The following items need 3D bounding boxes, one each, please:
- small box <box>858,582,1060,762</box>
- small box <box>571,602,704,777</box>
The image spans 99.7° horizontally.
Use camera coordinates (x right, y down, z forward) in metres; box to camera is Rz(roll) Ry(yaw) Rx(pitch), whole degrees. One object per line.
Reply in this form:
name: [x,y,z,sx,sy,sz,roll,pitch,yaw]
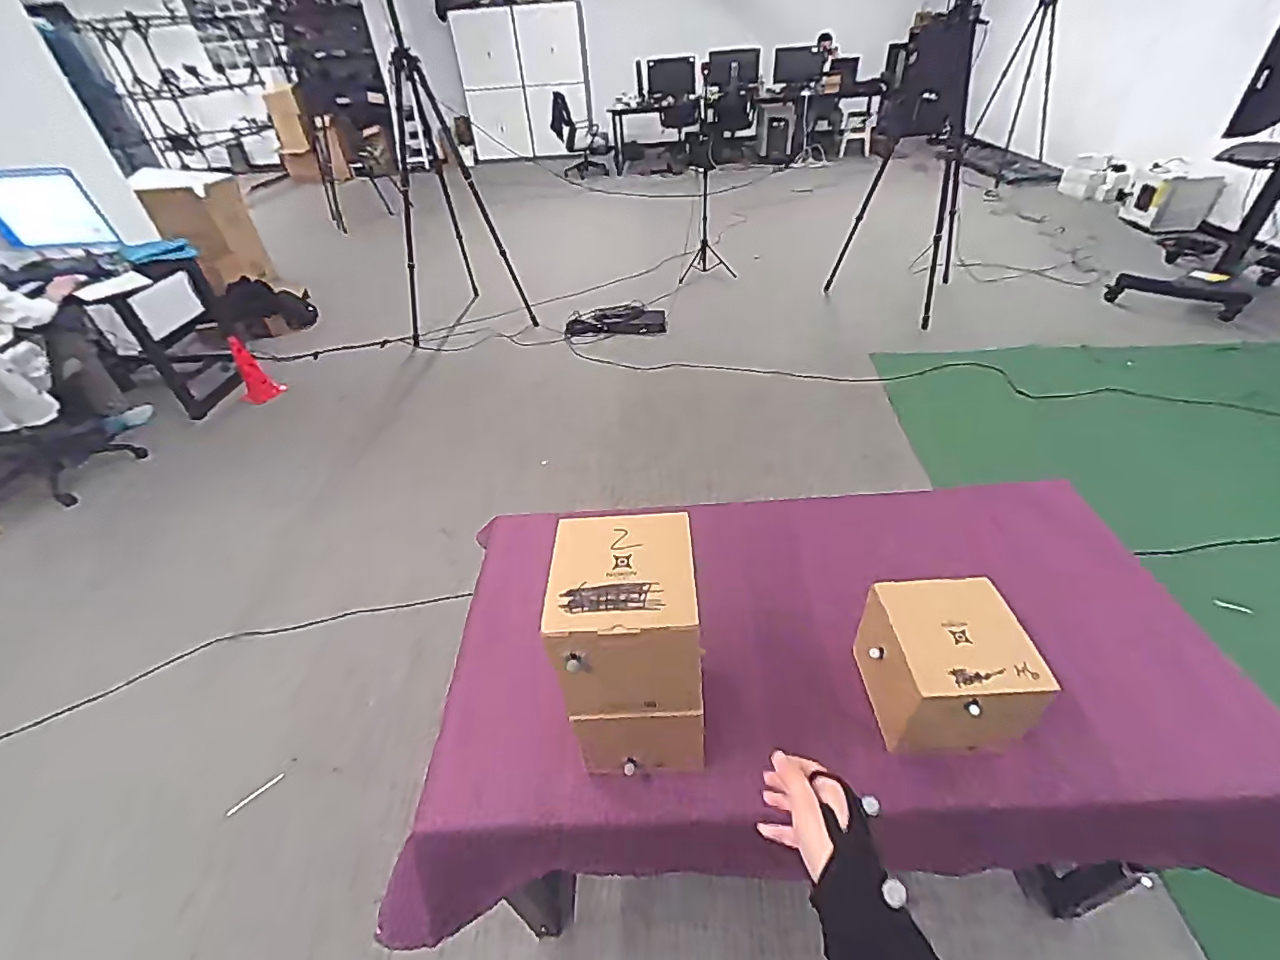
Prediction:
small box: [0.421,0.266,0.756,0.168,0.176,0.179,-5,39,3]
small box: [0.003,0.296,0.769,0.168,0.176,0.179,-3,40,3]
